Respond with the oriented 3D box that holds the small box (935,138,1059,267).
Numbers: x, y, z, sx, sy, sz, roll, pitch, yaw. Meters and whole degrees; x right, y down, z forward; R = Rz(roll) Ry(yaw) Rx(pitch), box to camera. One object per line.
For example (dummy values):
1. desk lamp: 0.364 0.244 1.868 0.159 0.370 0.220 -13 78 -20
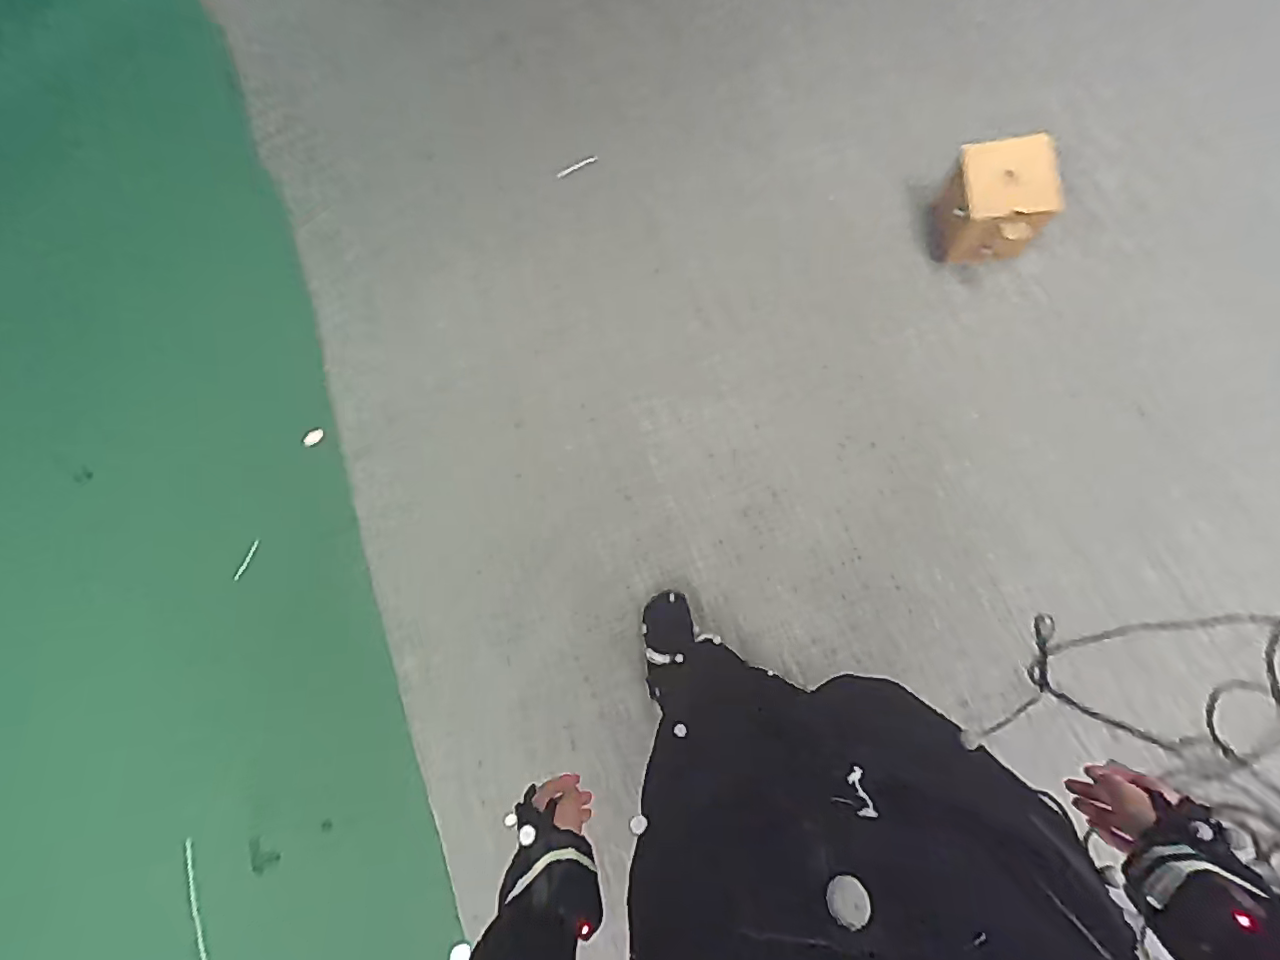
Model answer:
1. small box: 0.761 -0.594 1.174 0.168 0.176 0.179 -3 79 10
